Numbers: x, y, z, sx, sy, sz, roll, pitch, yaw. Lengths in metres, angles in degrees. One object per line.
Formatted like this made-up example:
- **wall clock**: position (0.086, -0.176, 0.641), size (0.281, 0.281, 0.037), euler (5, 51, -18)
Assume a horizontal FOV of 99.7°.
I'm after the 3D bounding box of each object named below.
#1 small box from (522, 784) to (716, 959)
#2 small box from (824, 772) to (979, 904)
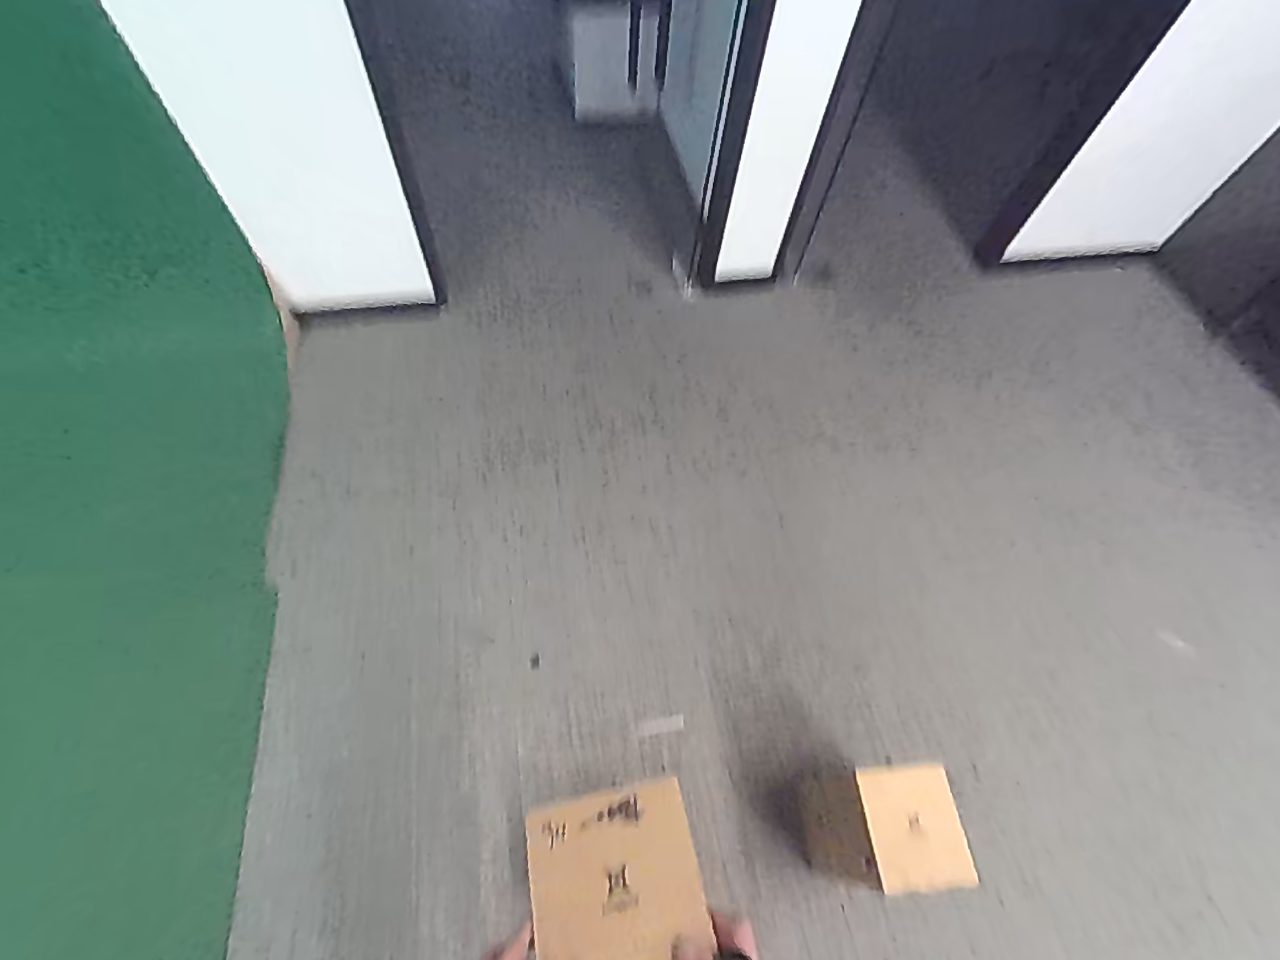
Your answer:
- **small box**: position (-0.025, 0.445, 0.567), size (0.168, 0.176, 0.179), euler (-8, 52, -9)
- **small box**: position (0.449, 0.630, 0.965), size (0.168, 0.176, 0.179), euler (-1, 59, -7)
